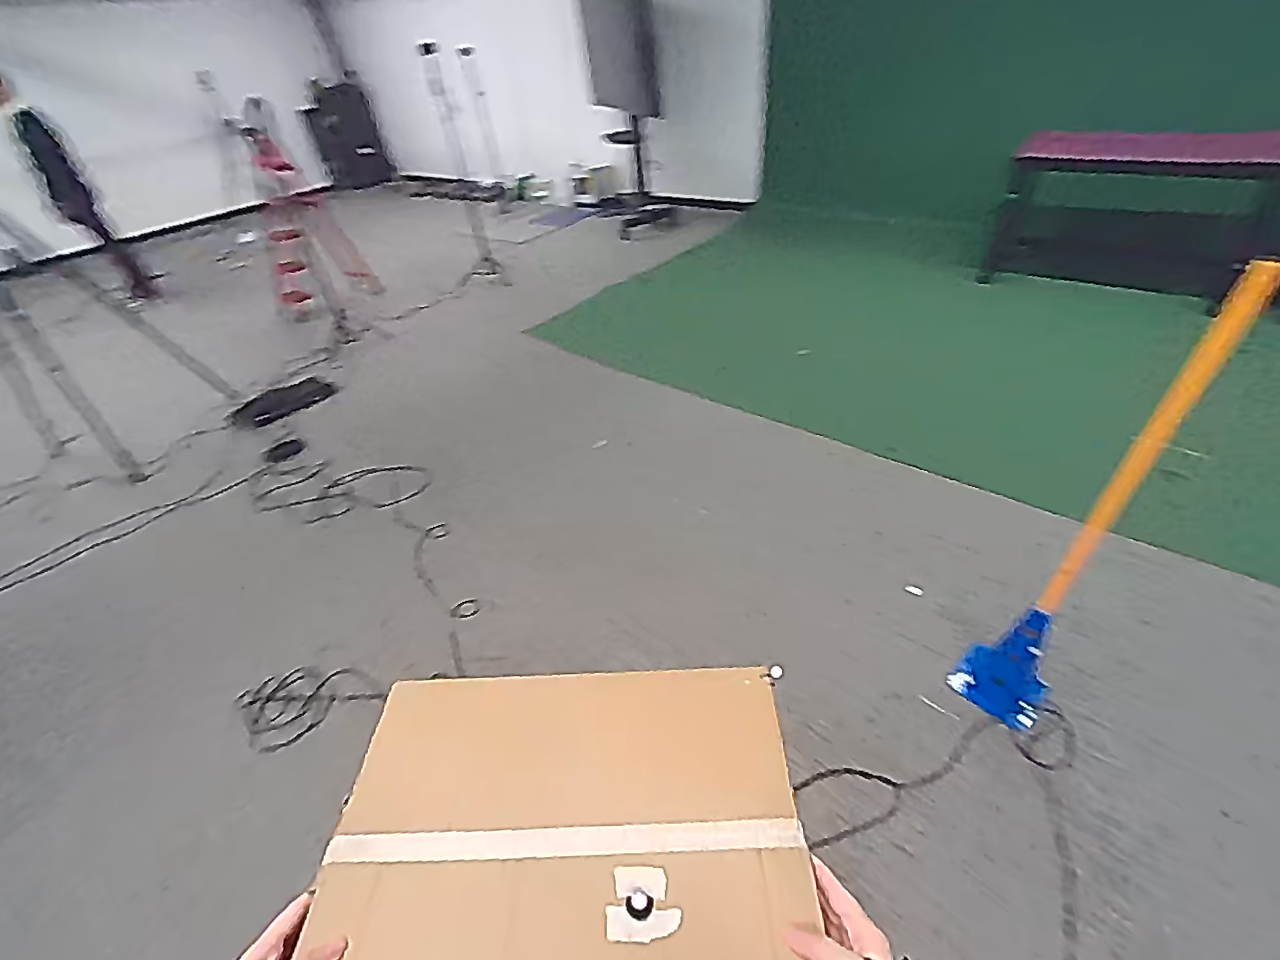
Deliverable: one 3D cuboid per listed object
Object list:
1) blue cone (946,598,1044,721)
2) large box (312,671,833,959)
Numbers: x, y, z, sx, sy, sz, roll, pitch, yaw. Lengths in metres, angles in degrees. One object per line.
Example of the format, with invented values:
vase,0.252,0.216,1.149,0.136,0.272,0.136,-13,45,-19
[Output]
blue cone,0.989,0.454,1.449,0.192,0.380,0.193,-32,45,-28
large box,-0.048,0.425,0.563,0.408,0.320,0.320,-2,41,2
